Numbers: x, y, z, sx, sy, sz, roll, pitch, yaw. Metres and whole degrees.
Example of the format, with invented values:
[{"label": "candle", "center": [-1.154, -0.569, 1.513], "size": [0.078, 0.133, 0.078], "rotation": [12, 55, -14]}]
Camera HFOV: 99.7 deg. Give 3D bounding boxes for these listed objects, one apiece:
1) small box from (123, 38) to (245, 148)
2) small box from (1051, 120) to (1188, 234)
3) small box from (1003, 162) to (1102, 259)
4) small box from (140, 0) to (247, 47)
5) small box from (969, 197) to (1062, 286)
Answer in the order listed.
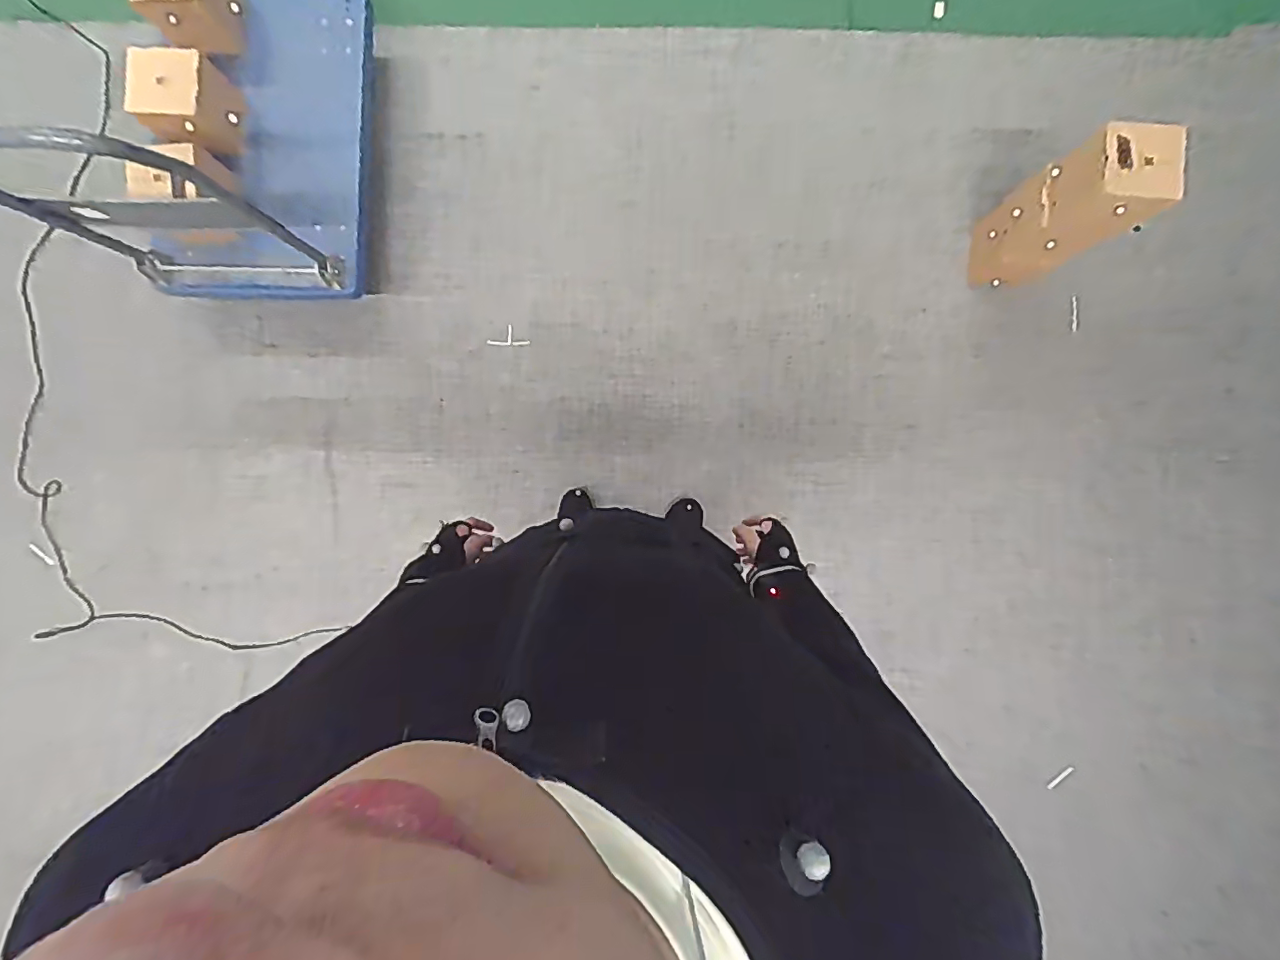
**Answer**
[{"label": "small box", "center": [-1.174, -0.994, 1.400], "size": [0.179, 0.176, 0.168], "rotation": [2, 89, -1]}, {"label": "small box", "center": [1.100, -0.693, 1.253], "size": [0.179, 0.176, 0.168], "rotation": [5, 89, 0]}, {"label": "small box", "center": [1.093, -0.700, 1.418], "size": [0.179, 0.176, 0.168], "rotation": [6, 89, 2]}, {"label": "small box", "center": [-1.169, -1.270, 1.397], "size": [0.179, 0.176, 0.168], "rotation": [7, 92, -1]}, {"label": "small box", "center": [1.097, -0.691, 1.581], "size": [0.168, 0.176, 0.179], "rotation": [6, 89, 1]}]
